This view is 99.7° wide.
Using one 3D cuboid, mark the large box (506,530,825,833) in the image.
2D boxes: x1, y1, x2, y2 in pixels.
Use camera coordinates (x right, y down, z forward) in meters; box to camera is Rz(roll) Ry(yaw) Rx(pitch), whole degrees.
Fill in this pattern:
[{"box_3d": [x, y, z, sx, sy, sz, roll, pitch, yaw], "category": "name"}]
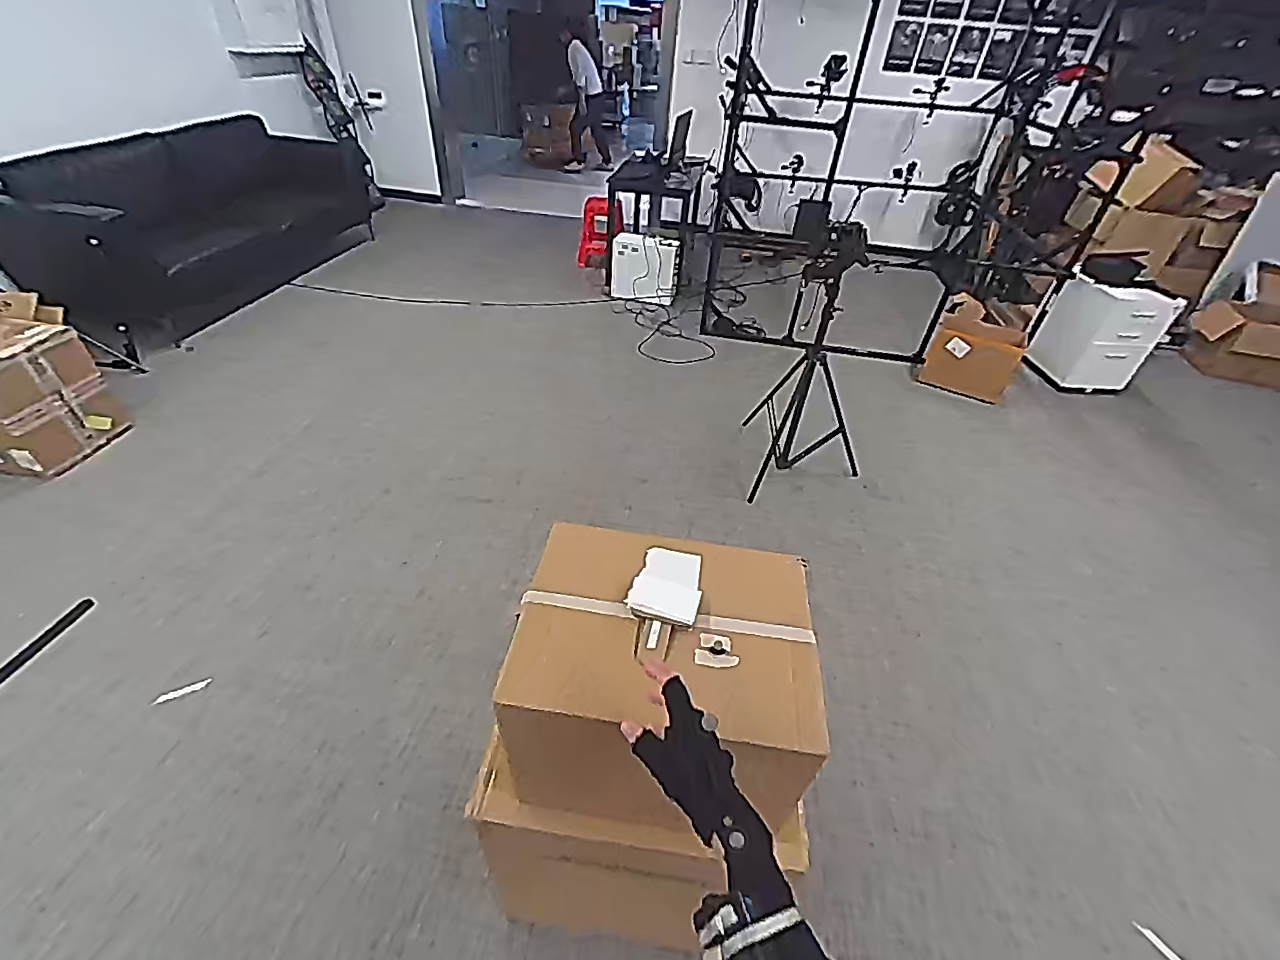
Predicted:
[{"box_3d": [0.031, 0.316, 0.866, 0.408, 0.320, 0.320, 8, 40, 3], "category": "large box"}]
